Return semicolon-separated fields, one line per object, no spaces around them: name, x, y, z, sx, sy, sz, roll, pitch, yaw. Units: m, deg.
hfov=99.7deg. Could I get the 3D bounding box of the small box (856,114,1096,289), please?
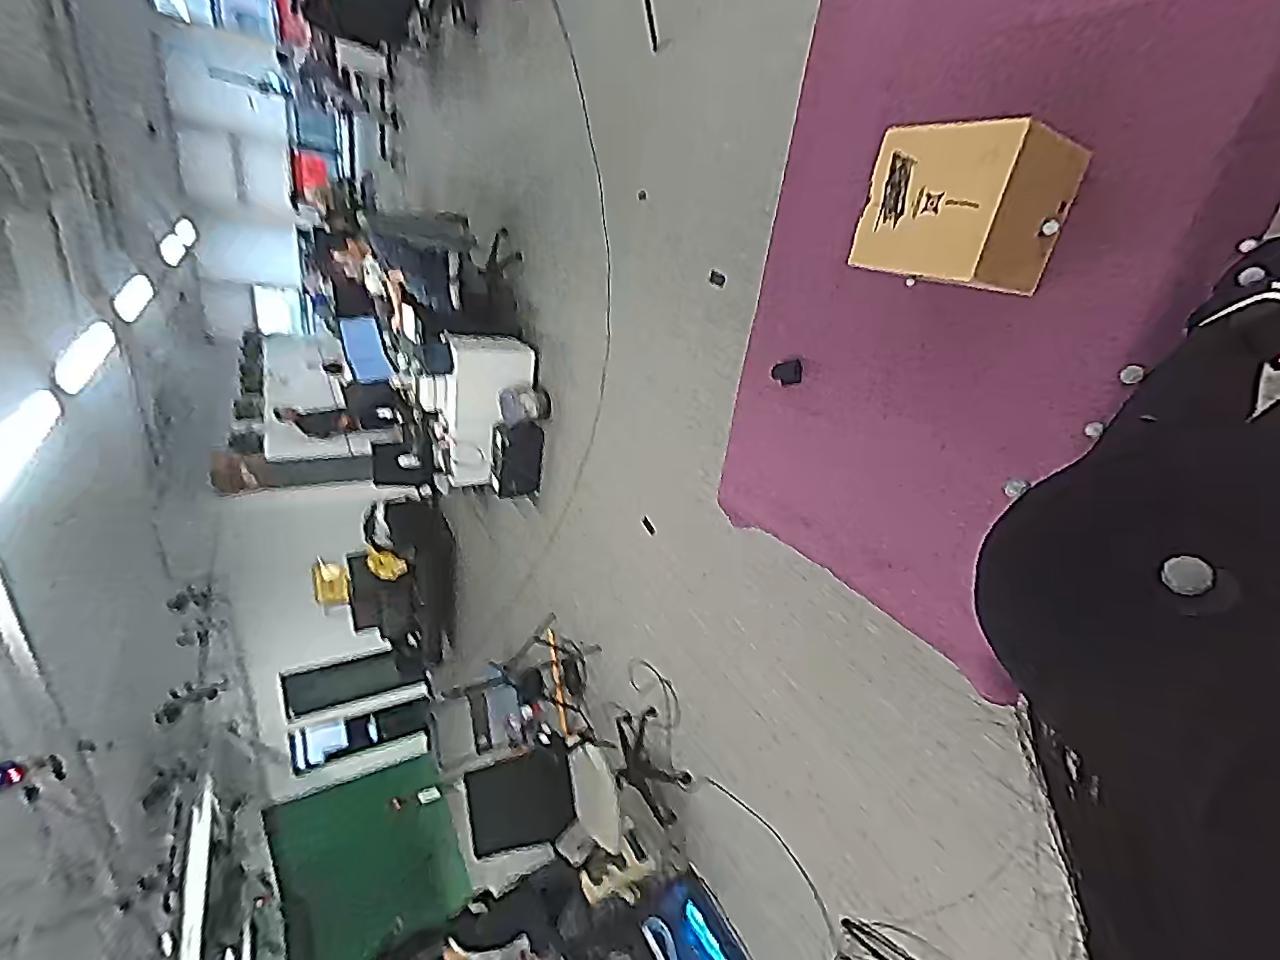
small box;0.422;-0.346;0.693;0.179;0.176;0.168;38;127;49
